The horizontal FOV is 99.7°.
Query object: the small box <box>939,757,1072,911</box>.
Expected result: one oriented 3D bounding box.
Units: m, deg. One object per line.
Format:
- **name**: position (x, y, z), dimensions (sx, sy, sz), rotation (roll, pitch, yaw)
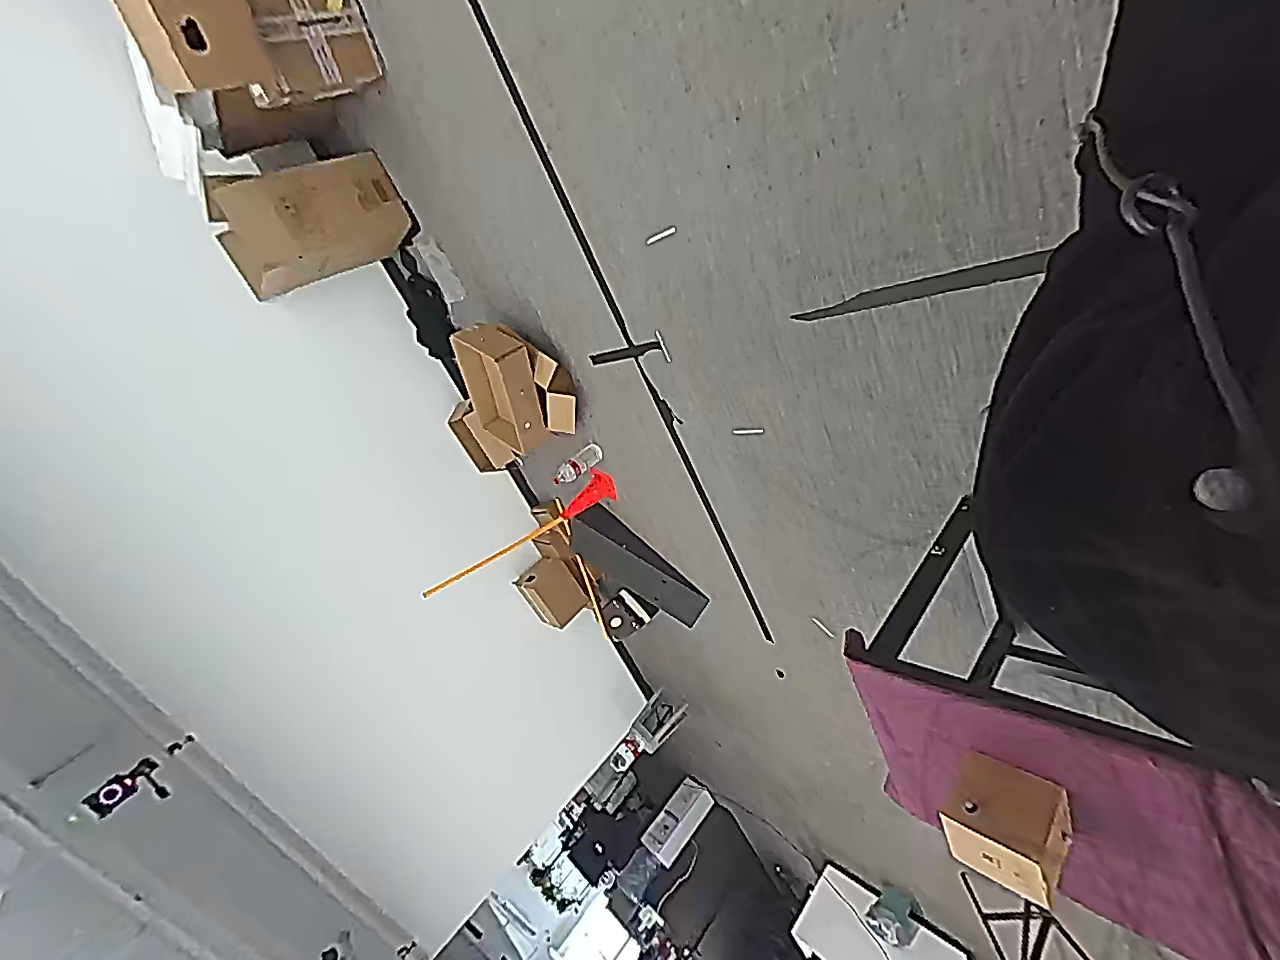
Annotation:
- **small box**: position (0.745, 0.703, 1.101), dimensions (0.179, 0.176, 0.168), rotation (5, 129, 50)
